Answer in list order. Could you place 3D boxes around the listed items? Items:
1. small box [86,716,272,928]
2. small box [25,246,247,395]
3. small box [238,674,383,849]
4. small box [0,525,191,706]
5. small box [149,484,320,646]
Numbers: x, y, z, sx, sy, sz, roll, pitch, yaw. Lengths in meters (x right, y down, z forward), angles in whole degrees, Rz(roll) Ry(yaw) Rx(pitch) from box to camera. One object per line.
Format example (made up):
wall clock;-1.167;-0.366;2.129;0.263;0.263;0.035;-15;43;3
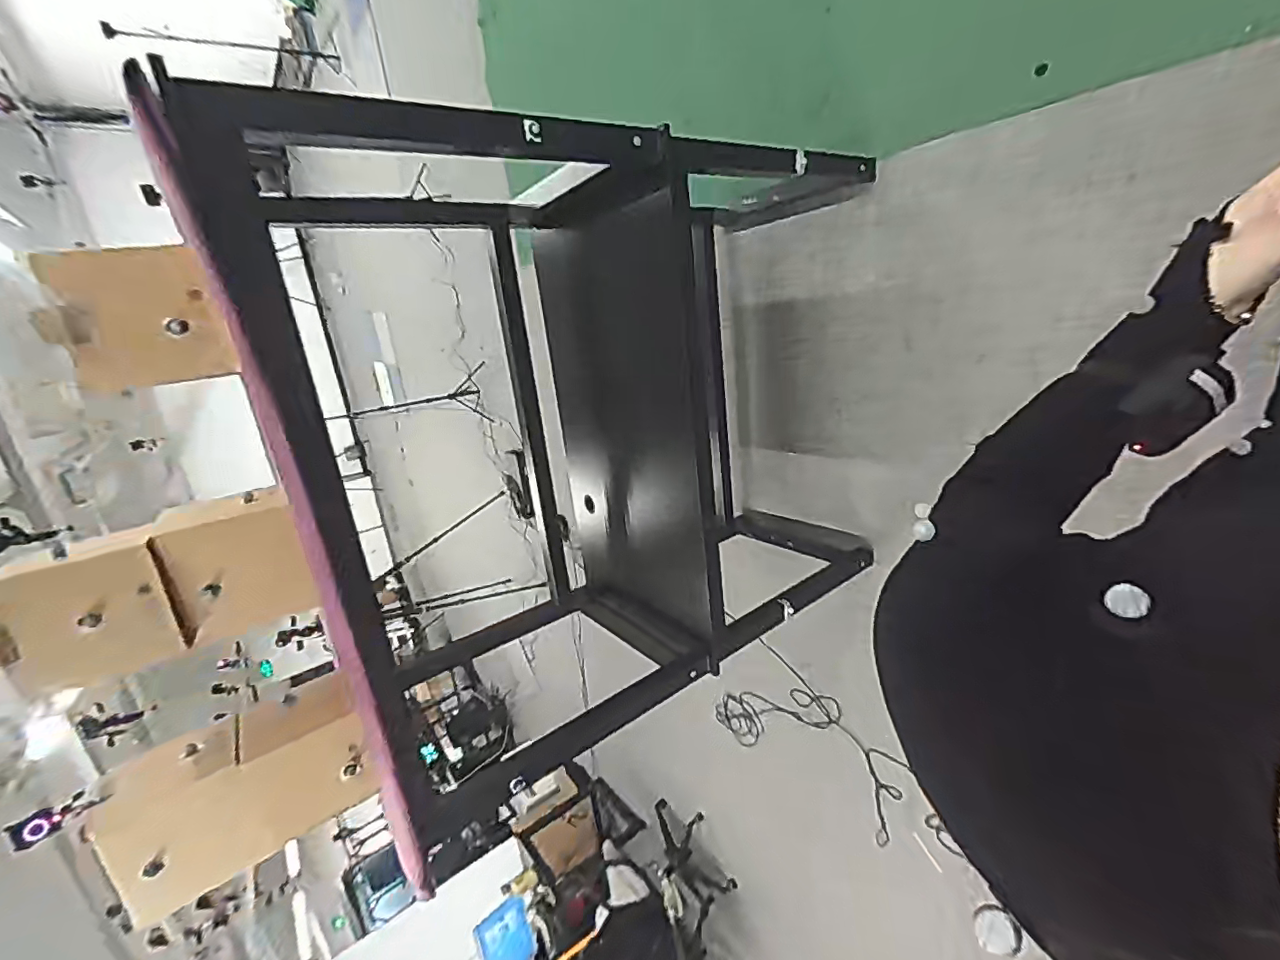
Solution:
small box;-0.687;0.508;0.831;0.168;0.176;0.179;8;113;53
small box;-0.661;-0.220;0.739;0.179;0.176;0.168;21;123;52
small box;-0.556;0.459;0.918;0.179;0.176;0.168;9;113;52
small box;-0.745;0.171;0.753;0.179;0.176;0.168;9;112;54
small box;-0.621;0.121;0.848;0.168;0.176;0.179;17;118;53
